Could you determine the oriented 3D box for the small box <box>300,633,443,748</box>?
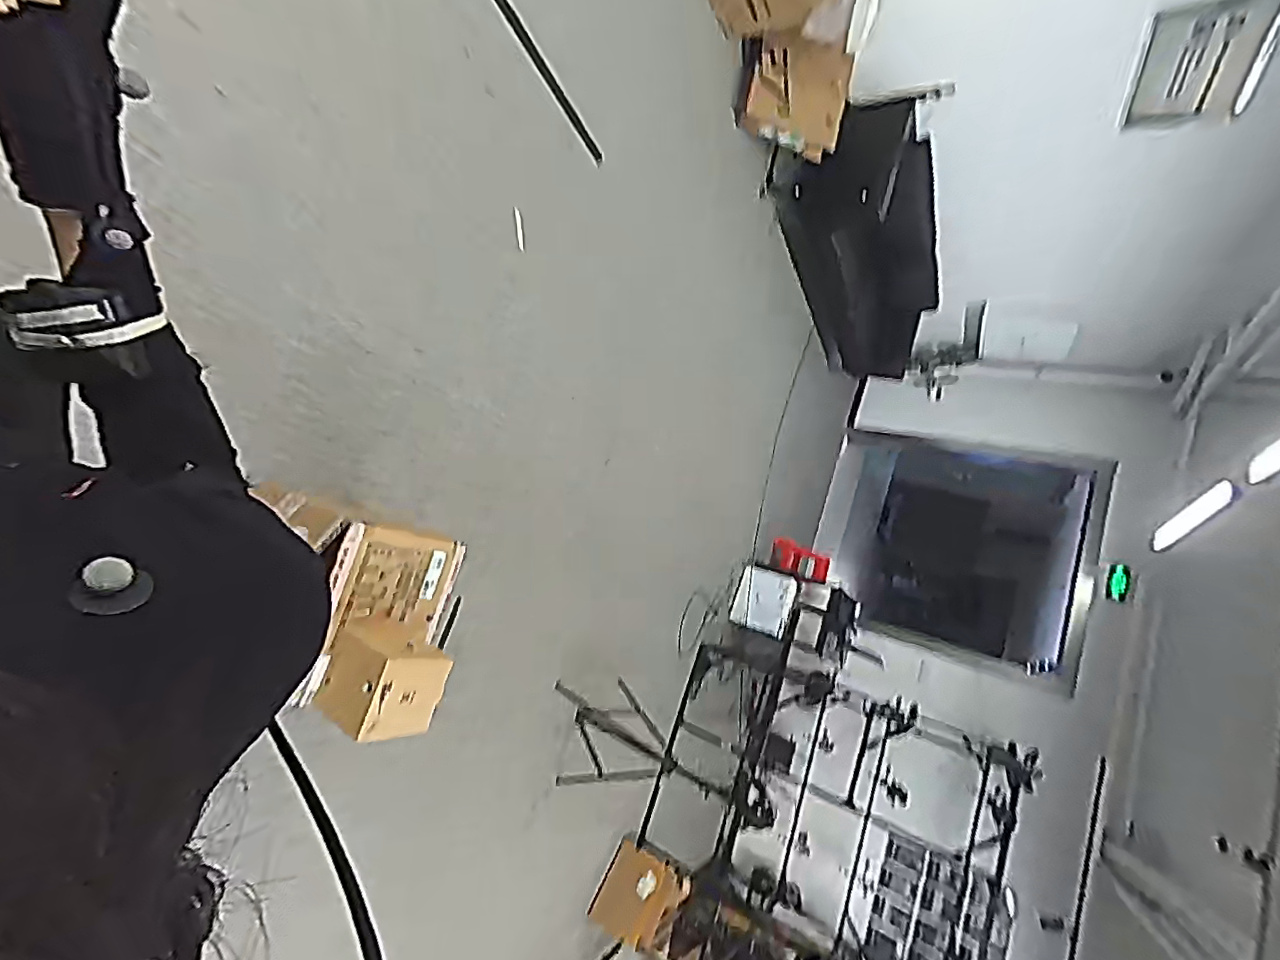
[{"bbox_3d":[-0.562,0.432,1.137,0.179,0.176,0.168,33,75,-59],"label":"small box"}]
